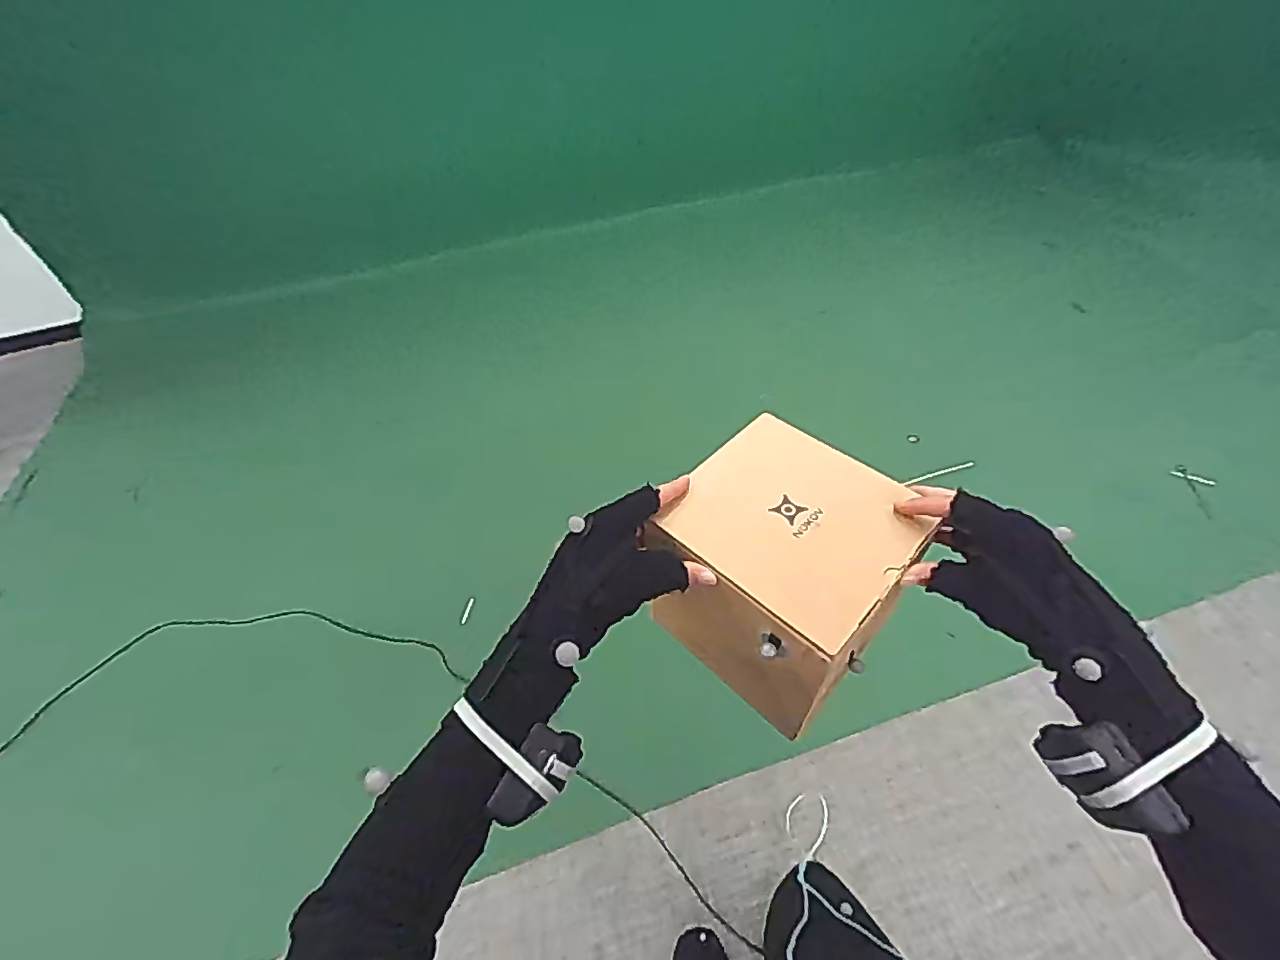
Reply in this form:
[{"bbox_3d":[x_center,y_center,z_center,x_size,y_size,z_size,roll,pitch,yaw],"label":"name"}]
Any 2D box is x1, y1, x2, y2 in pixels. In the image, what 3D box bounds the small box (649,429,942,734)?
[{"bbox_3d":[0.123,0.090,0.490,0.168,0.176,0.179,-37,57,-27],"label":"small box"}]
